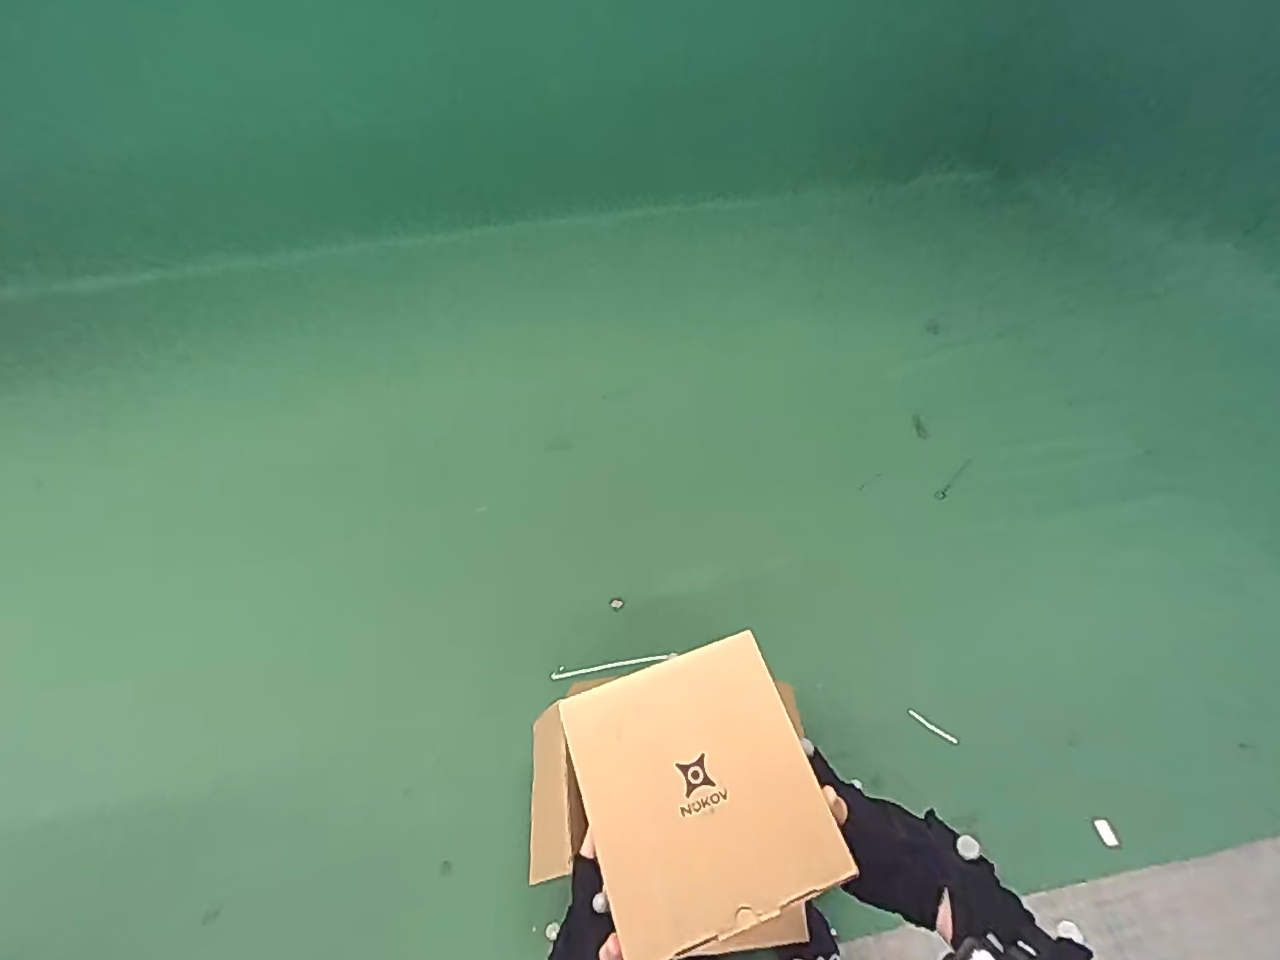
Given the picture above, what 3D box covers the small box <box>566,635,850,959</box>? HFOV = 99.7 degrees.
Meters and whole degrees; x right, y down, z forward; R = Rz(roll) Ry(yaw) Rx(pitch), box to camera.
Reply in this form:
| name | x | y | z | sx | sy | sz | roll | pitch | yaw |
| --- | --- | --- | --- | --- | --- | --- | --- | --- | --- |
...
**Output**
| name | x | y | z | sx | sy | sz | roll | pitch | yaw |
| --- | --- | --- | --- | --- | --- | --- | --- | --- | --- |
| small box | 0.042 | 0.260 | 0.470 | 0.168 | 0.176 | 0.179 | -17 | 64 | -9 |
